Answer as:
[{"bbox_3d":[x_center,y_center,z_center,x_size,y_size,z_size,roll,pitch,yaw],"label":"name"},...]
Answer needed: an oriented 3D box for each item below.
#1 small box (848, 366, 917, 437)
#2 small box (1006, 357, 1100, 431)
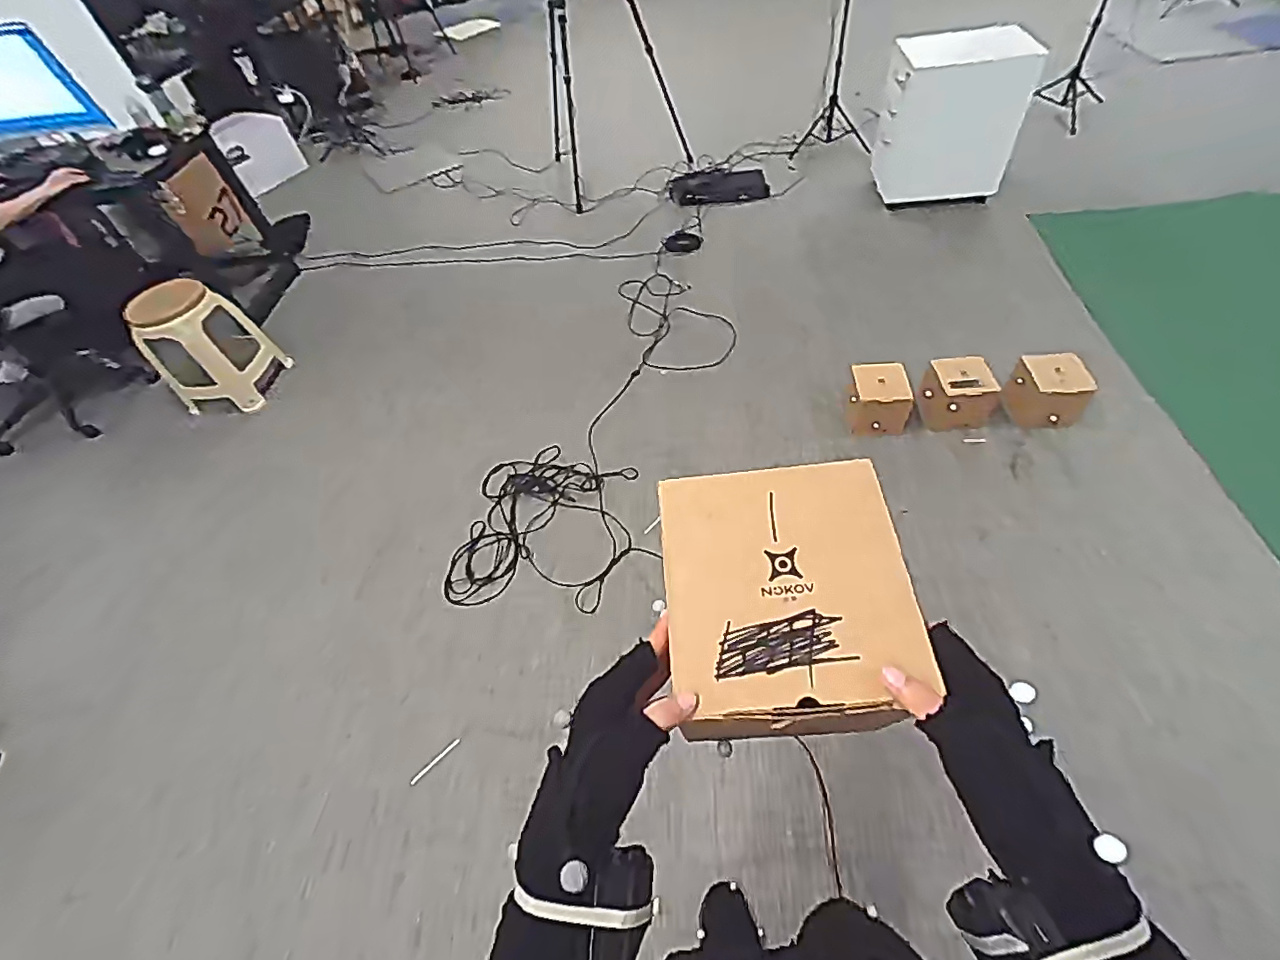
[{"bbox_3d":[0.818,-0.266,1.846,0.168,0.176,0.179,-2,53,8],"label":"small box"},{"bbox_3d":[1.344,-0.281,1.776,0.168,0.176,0.179,-2,53,9],"label":"small box"}]
